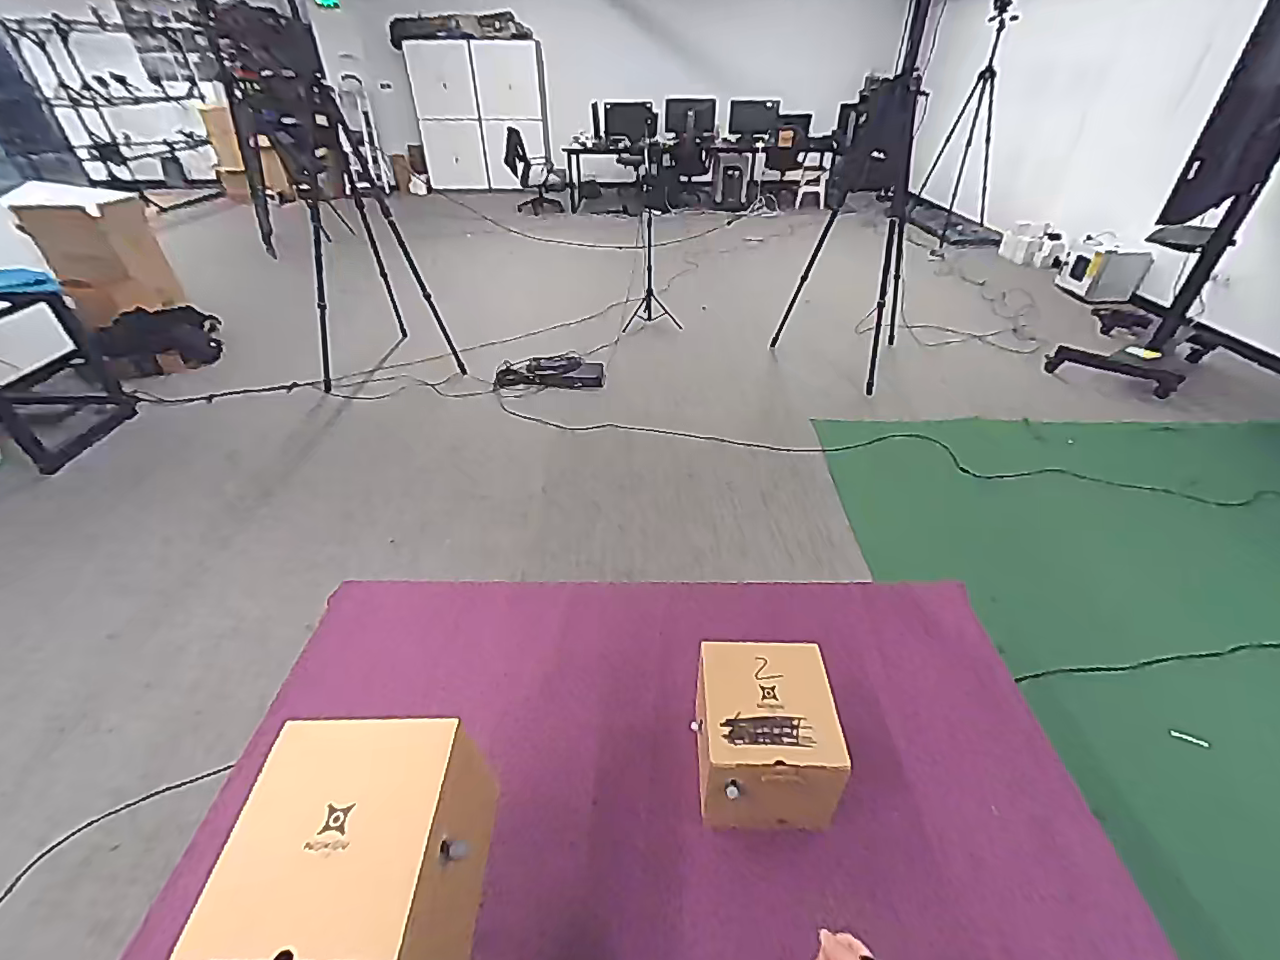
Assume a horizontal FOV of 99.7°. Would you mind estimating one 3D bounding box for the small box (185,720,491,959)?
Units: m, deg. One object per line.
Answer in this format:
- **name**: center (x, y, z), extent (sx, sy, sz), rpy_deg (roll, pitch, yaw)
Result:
- **small box**: center (-0.249, 0.348, 0.506), extent (0.168, 0.176, 0.179), rpy_deg (-2, 43, 2)
